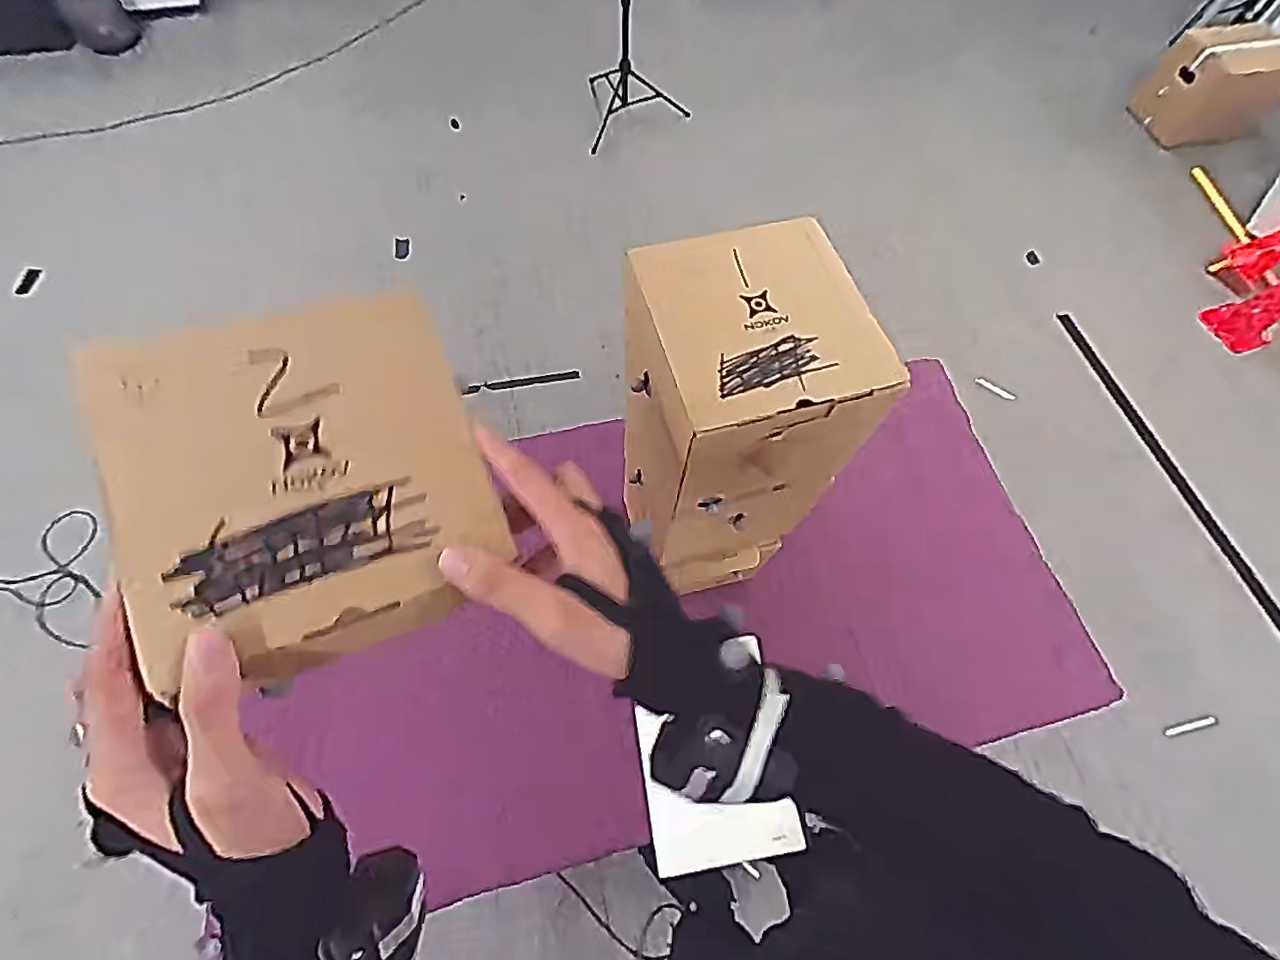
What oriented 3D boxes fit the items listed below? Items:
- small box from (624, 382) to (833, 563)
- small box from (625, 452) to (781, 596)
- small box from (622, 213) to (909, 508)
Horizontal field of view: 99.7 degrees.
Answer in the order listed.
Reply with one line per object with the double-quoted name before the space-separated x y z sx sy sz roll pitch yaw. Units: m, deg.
"small box" 0.084 -0.017 0.617 0.179 0.176 0.168 -13 67 -8
"small box" 0.076 0.056 0.764 0.168 0.176 0.179 -11 66 -7
"small box" 0.086 -0.089 0.468 0.168 0.176 0.179 -14 66 -8
